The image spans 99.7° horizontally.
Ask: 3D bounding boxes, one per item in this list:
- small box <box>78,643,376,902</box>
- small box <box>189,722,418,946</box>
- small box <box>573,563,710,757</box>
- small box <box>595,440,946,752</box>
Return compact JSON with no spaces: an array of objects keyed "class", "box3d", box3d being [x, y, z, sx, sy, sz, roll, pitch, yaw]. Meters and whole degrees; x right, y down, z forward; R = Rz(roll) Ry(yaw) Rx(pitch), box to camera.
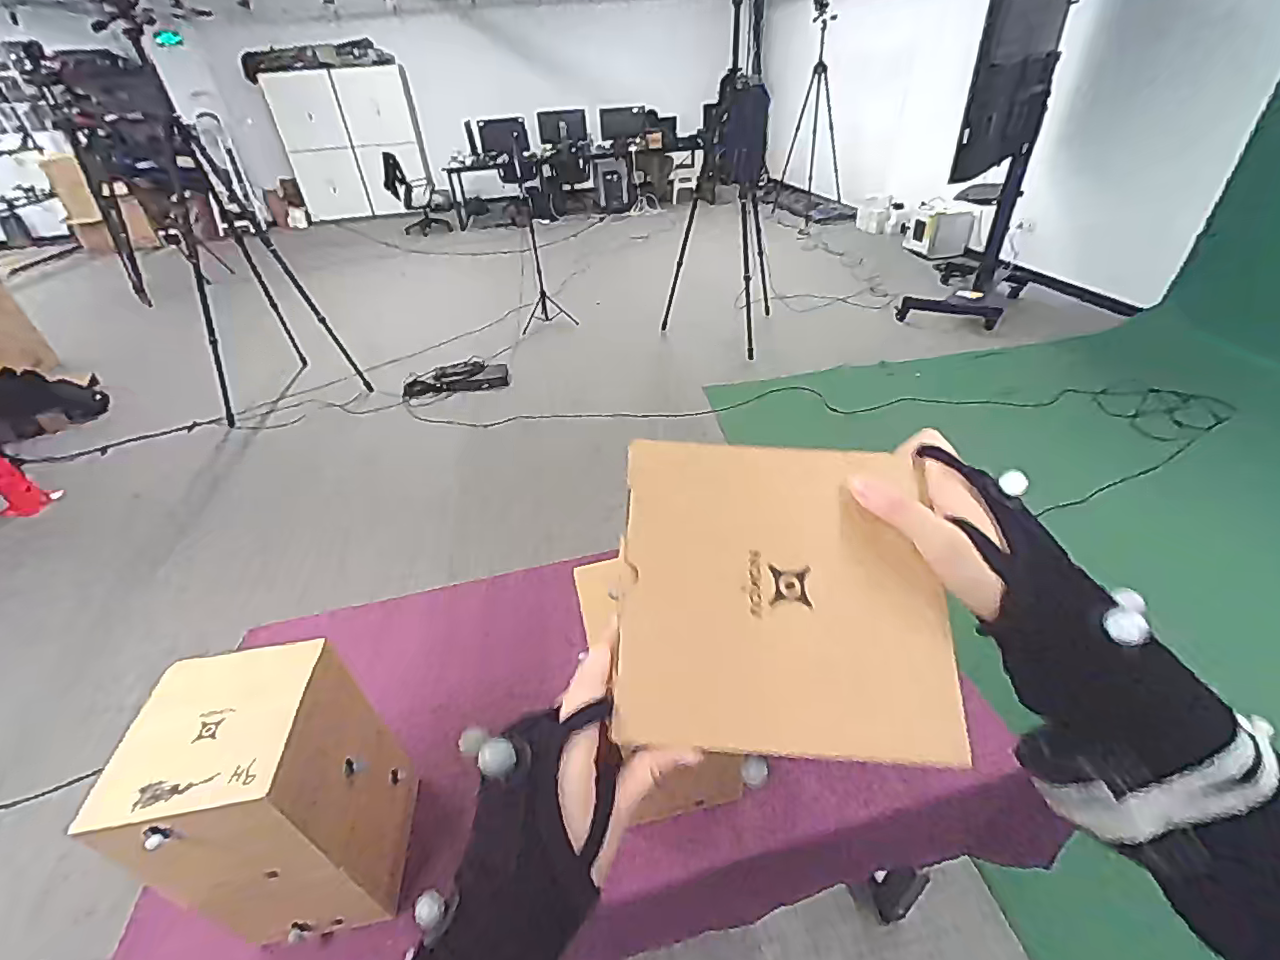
[{"class":"small box","box3d":[-0.411,0.310,0.584,0.168,0.176,0.179,-10,36,-4]},{"class":"small box","box3d":[-0.397,0.442,0.682,0.168,0.176,0.179,-9,37,-4]},{"class":"small box","box3d":[0.021,0.210,0.663,0.168,0.176,0.179,-12,35,-9]},{"class":"small box","box3d":[0.070,0.086,0.371,0.179,0.176,0.168,2,65,3]}]
